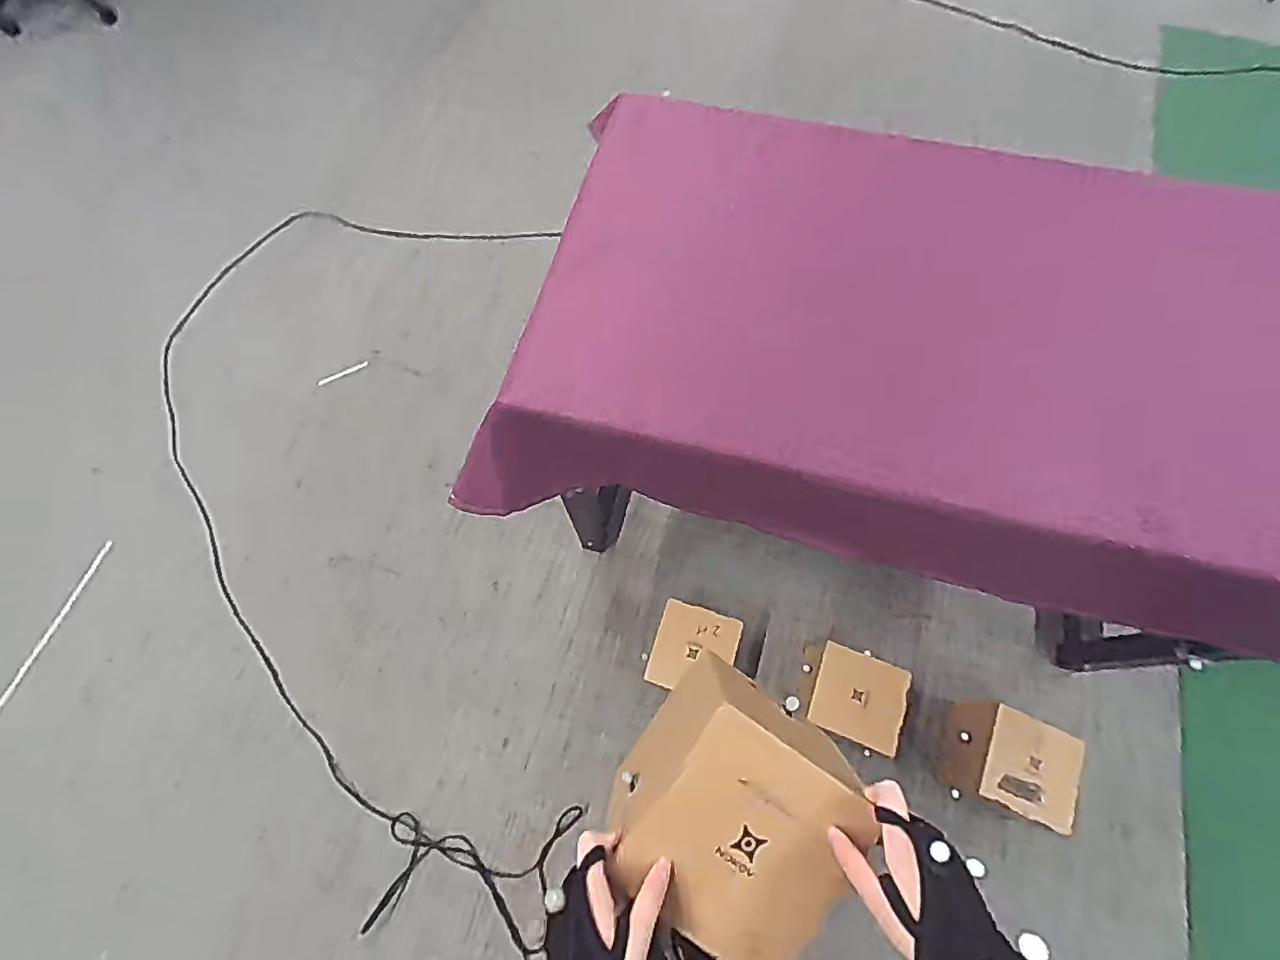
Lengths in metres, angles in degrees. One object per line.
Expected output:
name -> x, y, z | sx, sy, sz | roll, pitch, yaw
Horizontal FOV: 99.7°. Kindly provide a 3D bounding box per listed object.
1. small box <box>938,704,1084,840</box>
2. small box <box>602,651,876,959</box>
small box -> 0.732, 0.573, 1.085 | 0.168, 0.176, 0.179 | 24, 70, 10
small box -> 0.085, 0.301, 0.528 | 0.168, 0.176, 0.179 | 35, 89, 2
